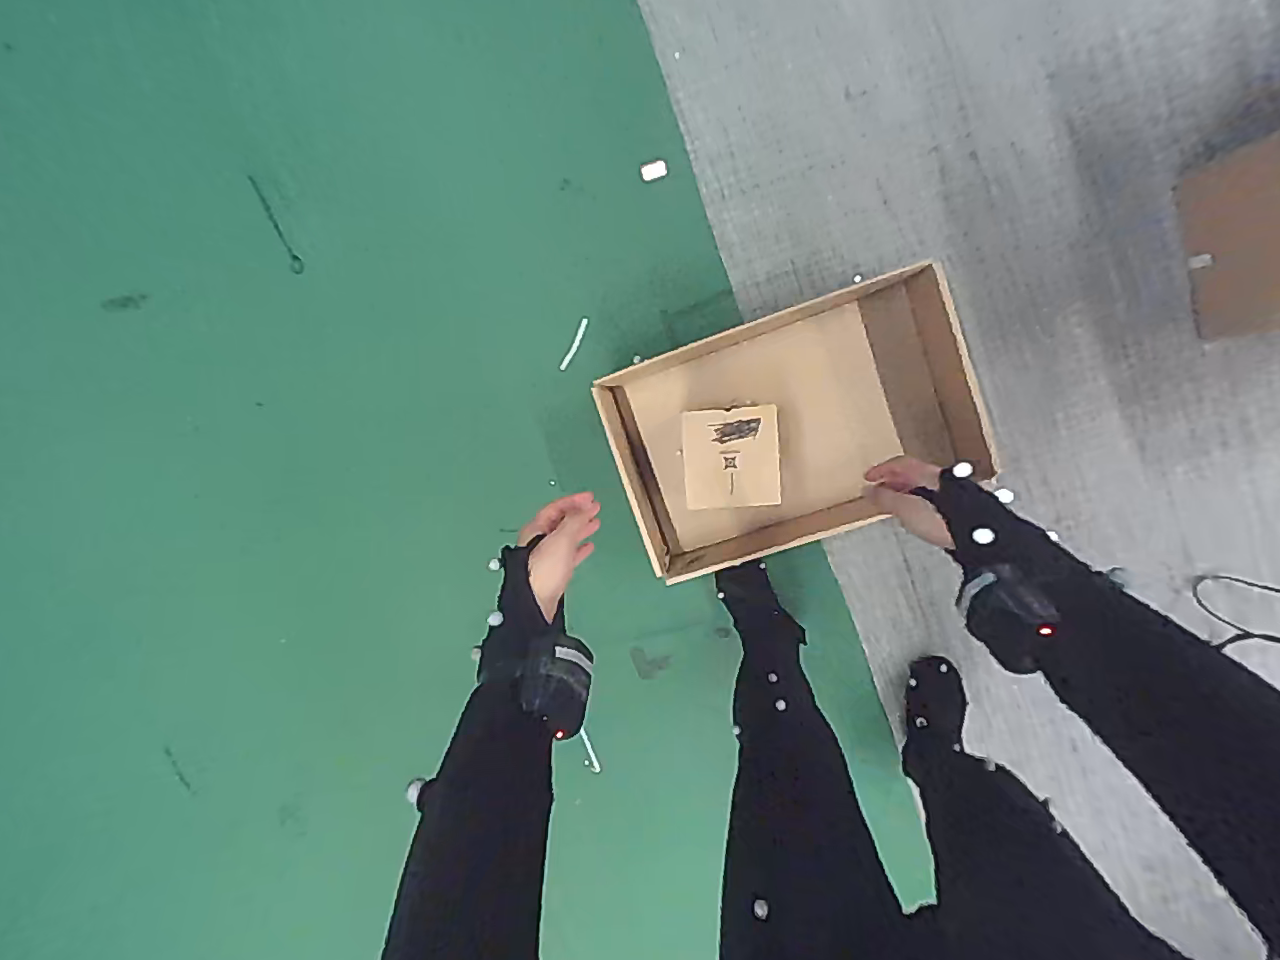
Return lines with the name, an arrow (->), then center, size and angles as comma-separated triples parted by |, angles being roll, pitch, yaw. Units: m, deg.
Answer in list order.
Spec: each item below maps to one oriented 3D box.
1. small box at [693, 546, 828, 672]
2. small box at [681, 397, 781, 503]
small box -> 0.243, 0.252, 1.072 | 0.176, 0.168, 0.179 | 32, 75, -28
small box -> 0.163, -0.058, 1.008 | 0.168, 0.176, 0.179 | -4, 97, 5
